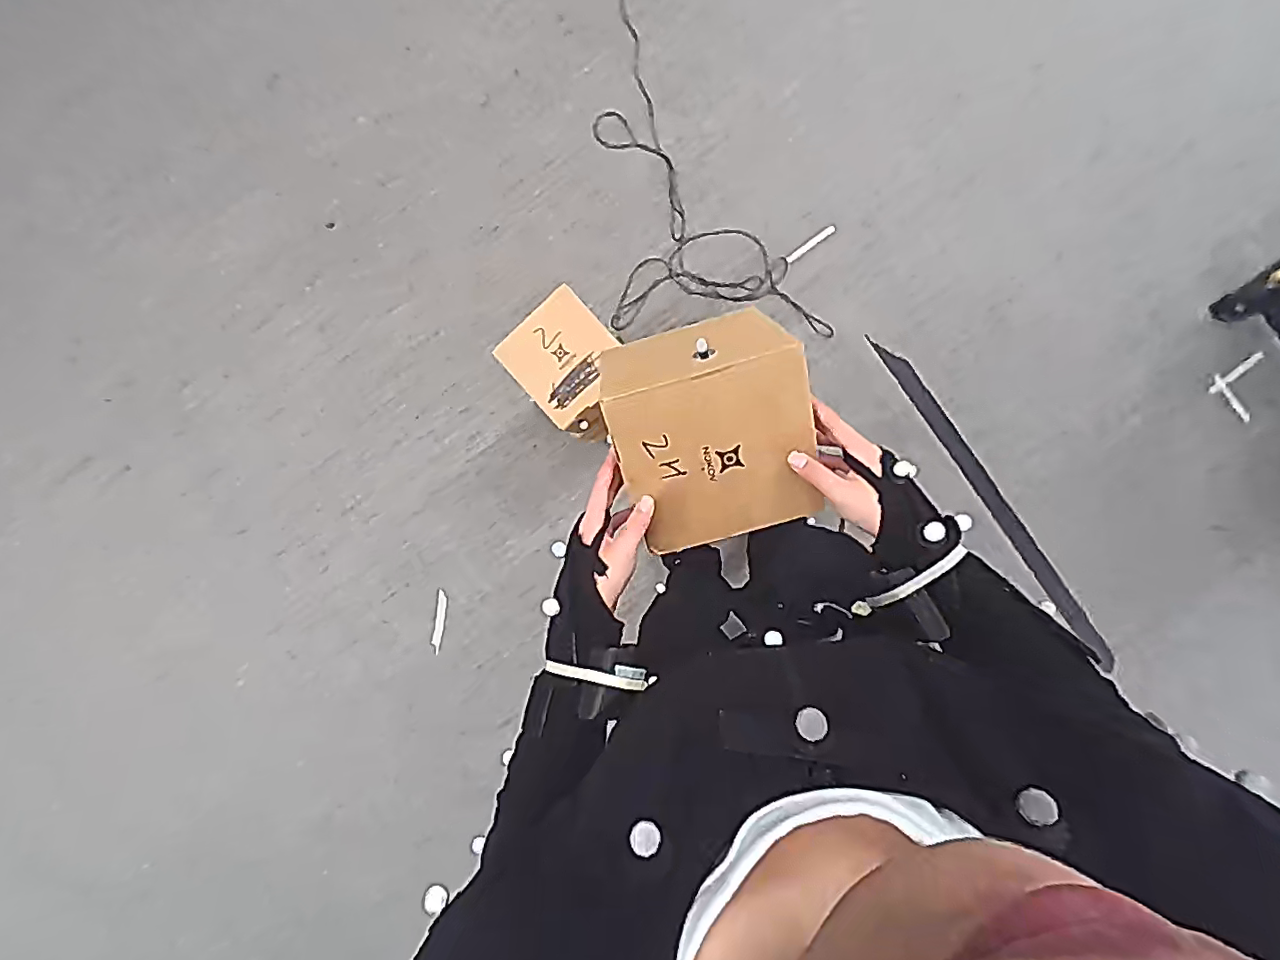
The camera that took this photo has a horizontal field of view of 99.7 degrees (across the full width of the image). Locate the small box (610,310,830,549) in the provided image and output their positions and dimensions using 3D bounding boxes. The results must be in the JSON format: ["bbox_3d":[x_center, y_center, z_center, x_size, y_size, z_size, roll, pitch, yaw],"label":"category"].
[{"bbox_3d":[0.072,-0.060,0.547,0.179,0.176,0.168,-14,117,5],"label":"small box"}]

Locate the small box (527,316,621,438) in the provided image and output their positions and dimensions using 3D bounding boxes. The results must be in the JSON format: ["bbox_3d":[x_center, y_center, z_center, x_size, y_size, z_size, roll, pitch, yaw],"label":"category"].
[{"bbox_3d":[-0.101,-0.204,1.112,0.179,0.176,0.168,-41,91,4],"label":"small box"}]
